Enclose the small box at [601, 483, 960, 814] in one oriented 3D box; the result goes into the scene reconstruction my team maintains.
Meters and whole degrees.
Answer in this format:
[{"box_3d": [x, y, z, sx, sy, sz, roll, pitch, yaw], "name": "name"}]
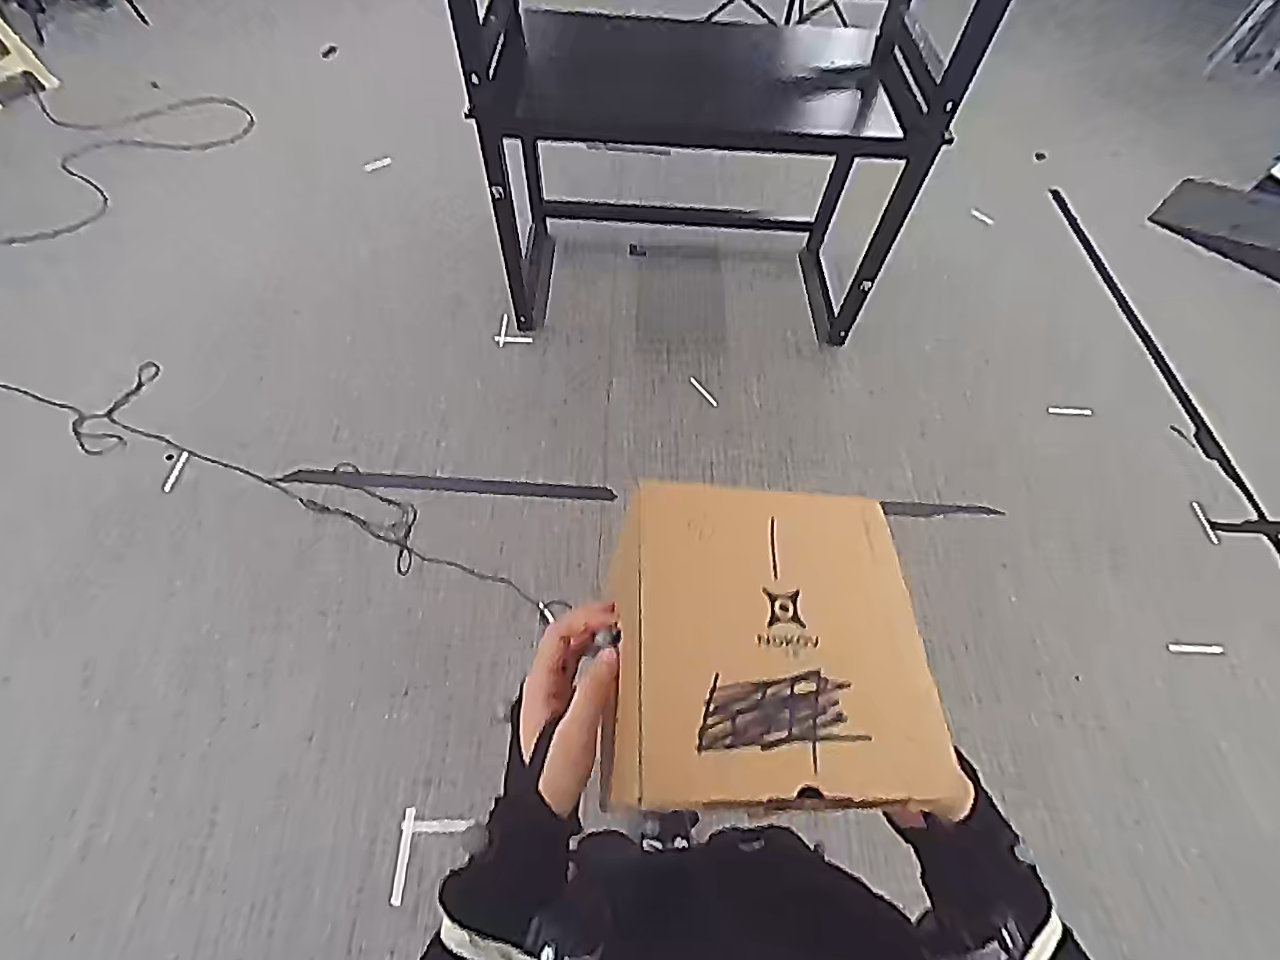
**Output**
[{"box_3d": [0.066, 0.124, 0.368, 0.168, 0.176, 0.179, 5, 56, -9], "name": "small box"}]
